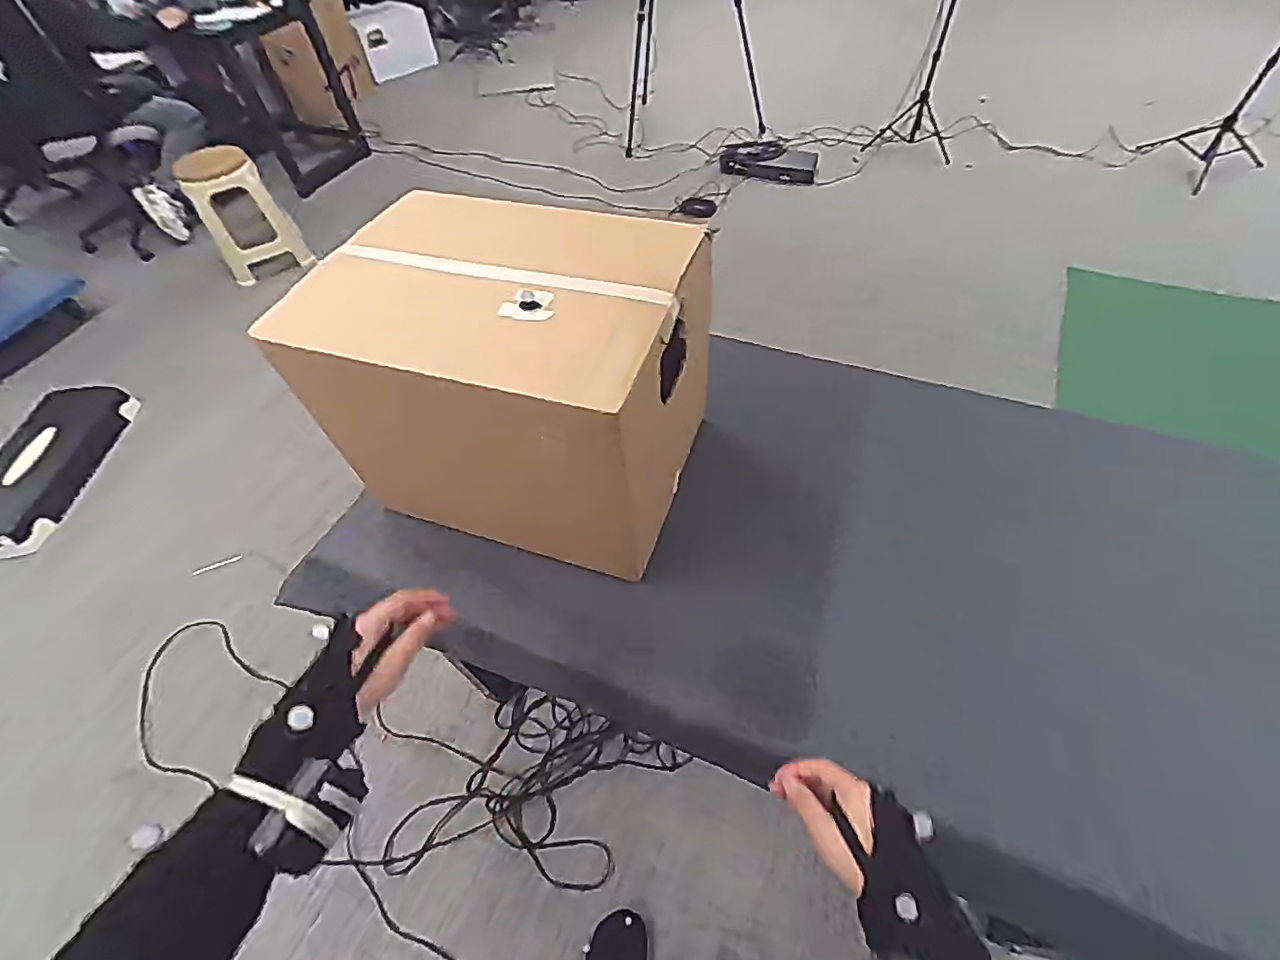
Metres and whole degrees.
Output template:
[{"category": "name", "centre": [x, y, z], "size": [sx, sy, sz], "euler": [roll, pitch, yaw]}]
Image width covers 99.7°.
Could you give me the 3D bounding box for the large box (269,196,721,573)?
[{"category": "large box", "centre": [-0.137, -0.125, 0.703], "size": [0.408, 0.320, 0.320], "euler": [14, 56, 13]}]
